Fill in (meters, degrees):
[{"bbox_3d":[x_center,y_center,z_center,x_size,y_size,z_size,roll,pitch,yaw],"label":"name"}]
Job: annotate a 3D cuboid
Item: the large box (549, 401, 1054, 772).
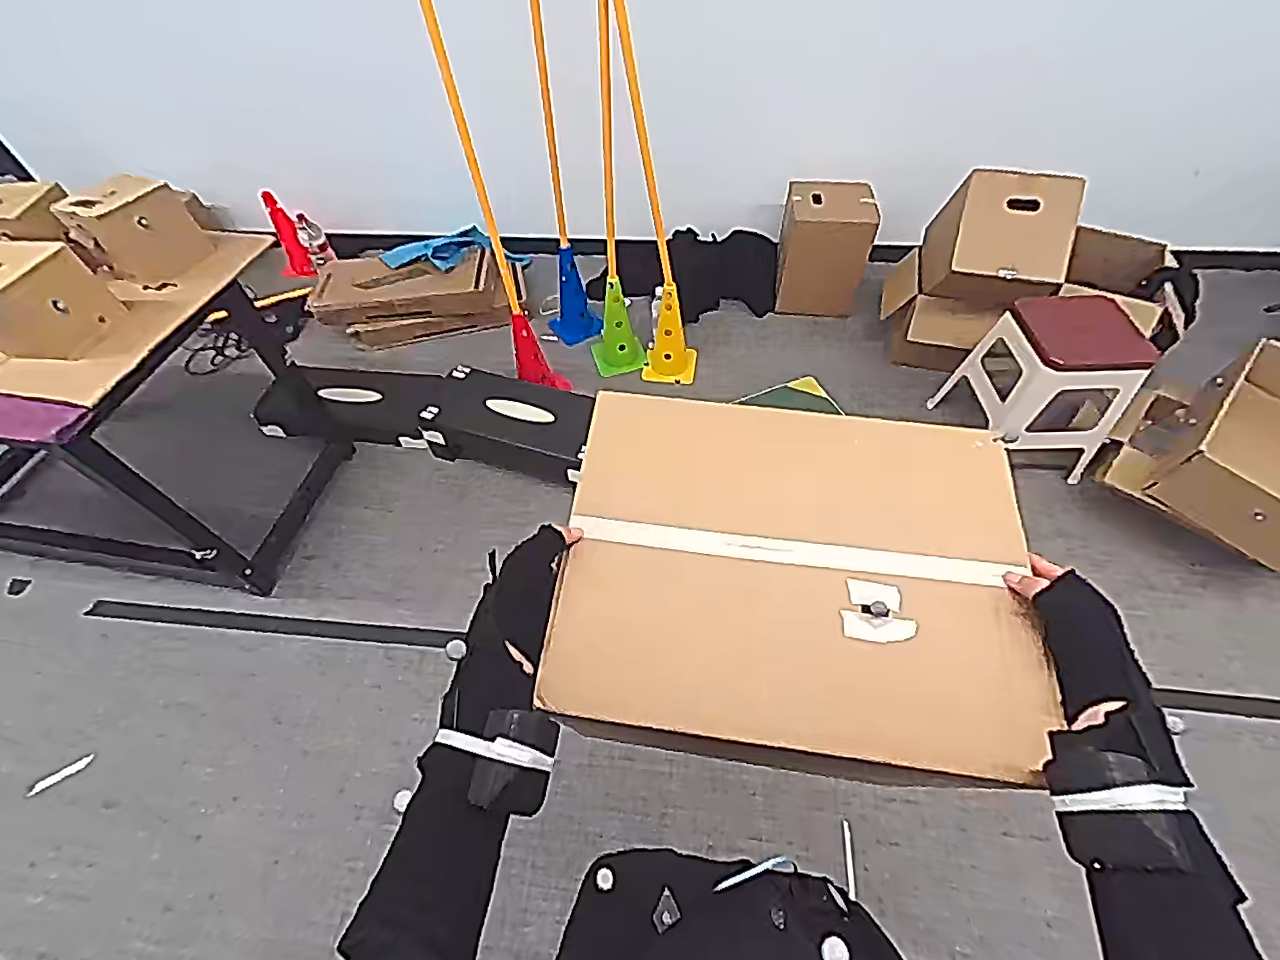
[{"bbox_3d":[0.138,0.138,0.624,0.408,0.320,0.320,7,63,4],"label":"large box"}]
